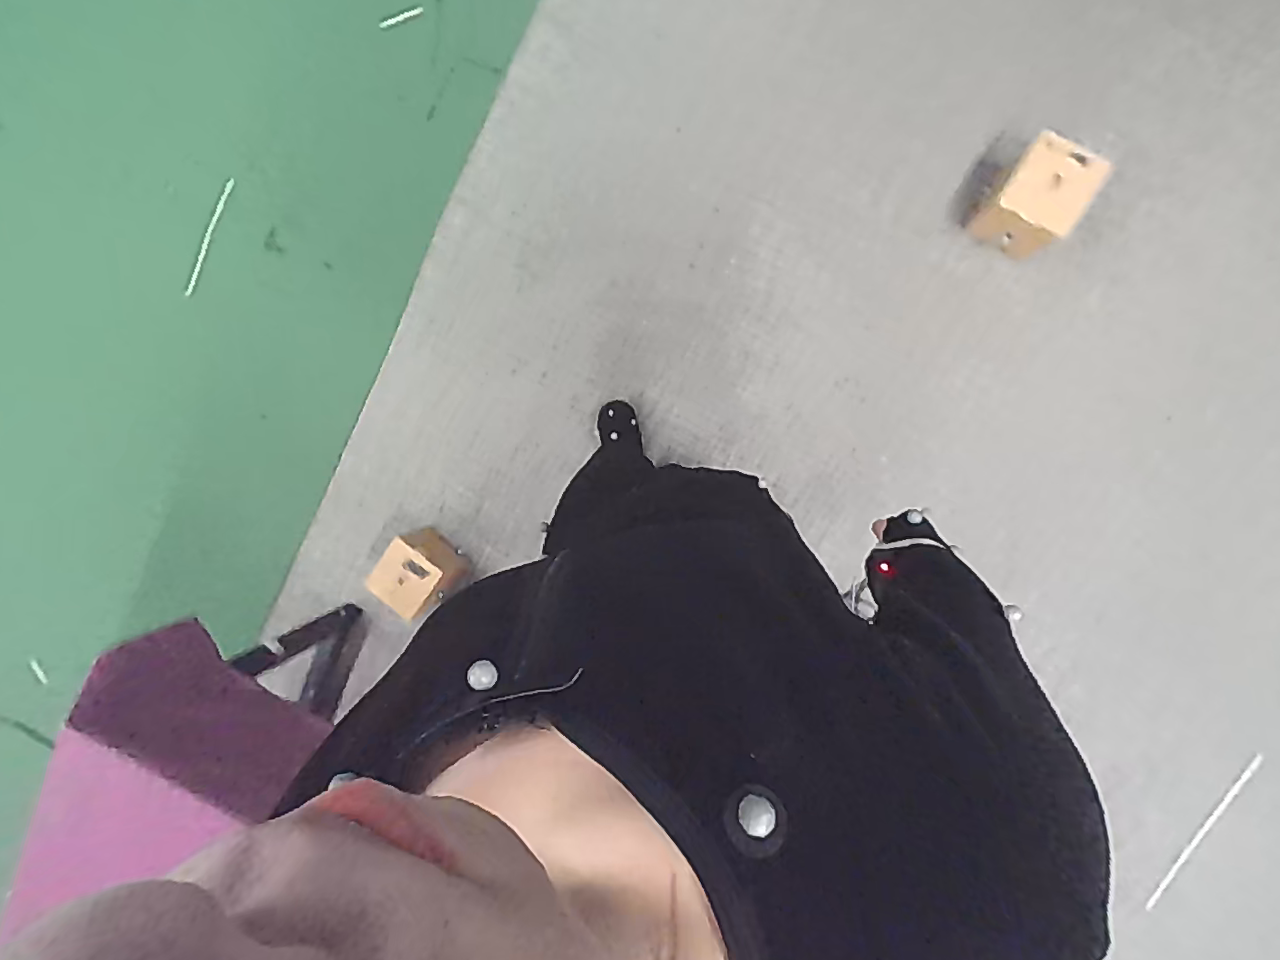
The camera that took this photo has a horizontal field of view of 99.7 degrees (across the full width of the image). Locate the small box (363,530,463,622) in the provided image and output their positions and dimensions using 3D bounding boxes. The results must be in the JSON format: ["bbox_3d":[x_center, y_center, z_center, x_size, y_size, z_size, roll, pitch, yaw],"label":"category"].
[{"bbox_3d":[-0.629,0.261,1.526,0.168,0.176,0.179,37,99,4],"label":"small box"}]

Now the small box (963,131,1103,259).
[{"bbox_3d":[0.881,-0.639,1.237,0.168,0.176,0.179,31,99,4],"label":"small box"}]
